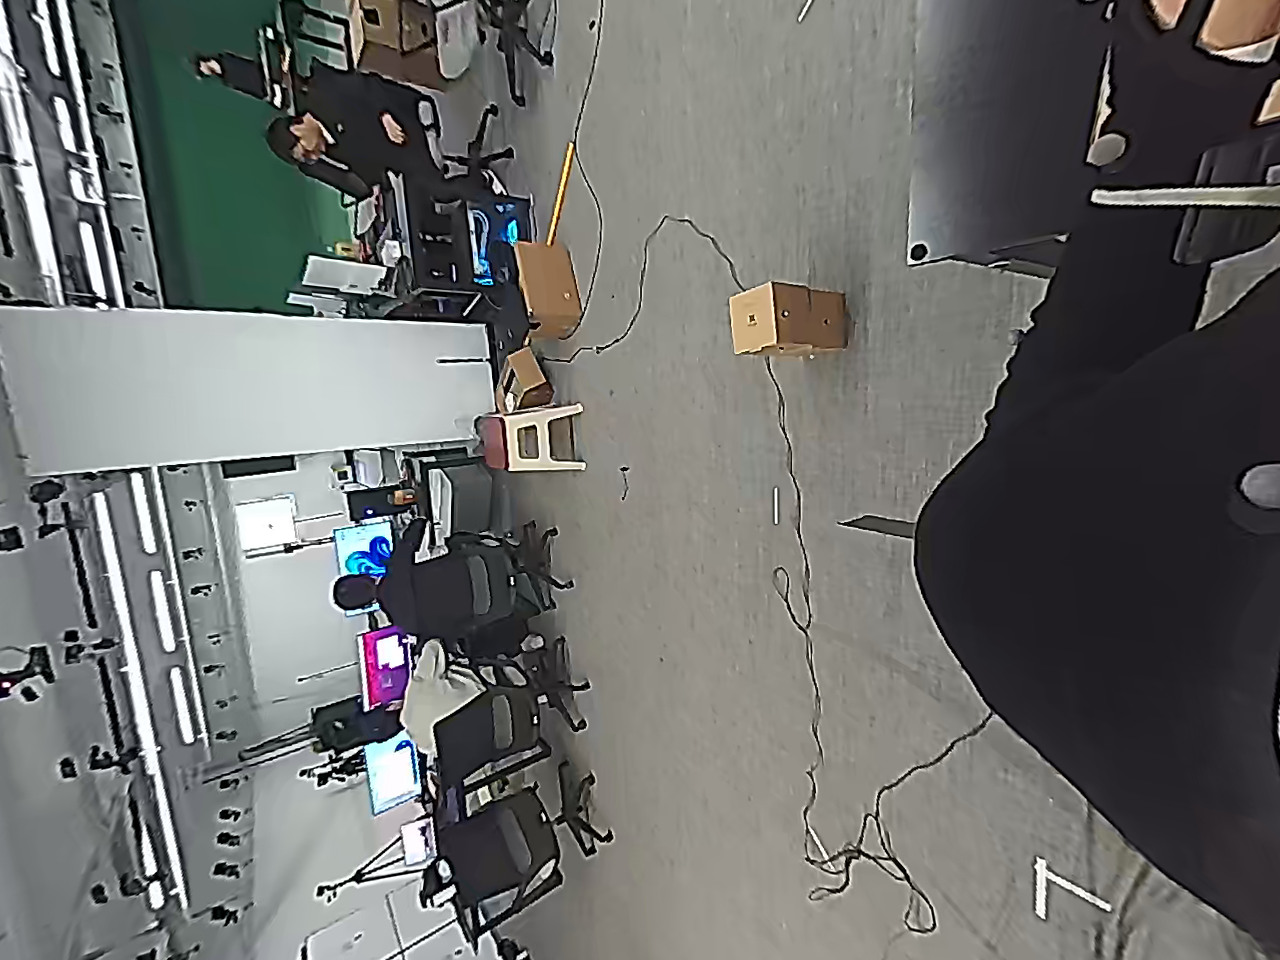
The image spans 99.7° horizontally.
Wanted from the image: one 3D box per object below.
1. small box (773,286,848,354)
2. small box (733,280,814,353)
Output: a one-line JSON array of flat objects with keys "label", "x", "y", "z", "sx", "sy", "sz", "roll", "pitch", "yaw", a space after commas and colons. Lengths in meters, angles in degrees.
[{"label": "small box", "x": 0.532, "y": -0.495, "z": 1.698, "sx": 0.168, "sy": 0.176, "sz": 0.179, "roll": 4, "pitch": 101, "yaw": 55}, {"label": "small box", "x": 0.399, "y": -0.480, "z": 1.605, "sx": 0.168, "sy": 0.176, "sz": 0.179, "roll": 0, "pitch": 96, "yaw": 55}]
